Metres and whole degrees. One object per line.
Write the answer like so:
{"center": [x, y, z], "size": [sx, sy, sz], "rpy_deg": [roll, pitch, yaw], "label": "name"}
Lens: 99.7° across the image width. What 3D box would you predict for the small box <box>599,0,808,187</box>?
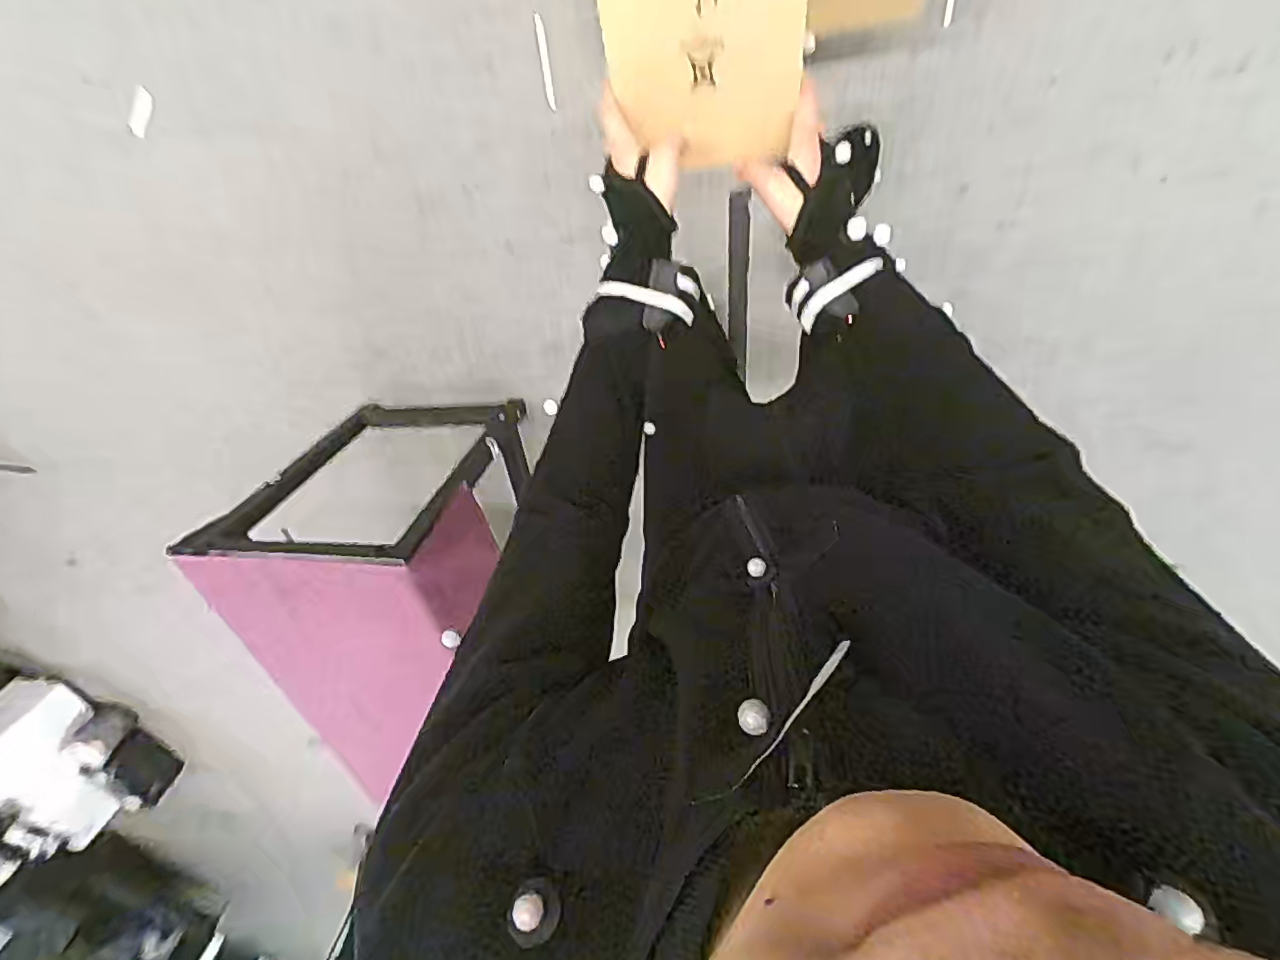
{"center": [0.060, -0.408, 0.509], "size": [0.168, 0.176, 0.179], "rpy_deg": [-2, 140, 8], "label": "small box"}
